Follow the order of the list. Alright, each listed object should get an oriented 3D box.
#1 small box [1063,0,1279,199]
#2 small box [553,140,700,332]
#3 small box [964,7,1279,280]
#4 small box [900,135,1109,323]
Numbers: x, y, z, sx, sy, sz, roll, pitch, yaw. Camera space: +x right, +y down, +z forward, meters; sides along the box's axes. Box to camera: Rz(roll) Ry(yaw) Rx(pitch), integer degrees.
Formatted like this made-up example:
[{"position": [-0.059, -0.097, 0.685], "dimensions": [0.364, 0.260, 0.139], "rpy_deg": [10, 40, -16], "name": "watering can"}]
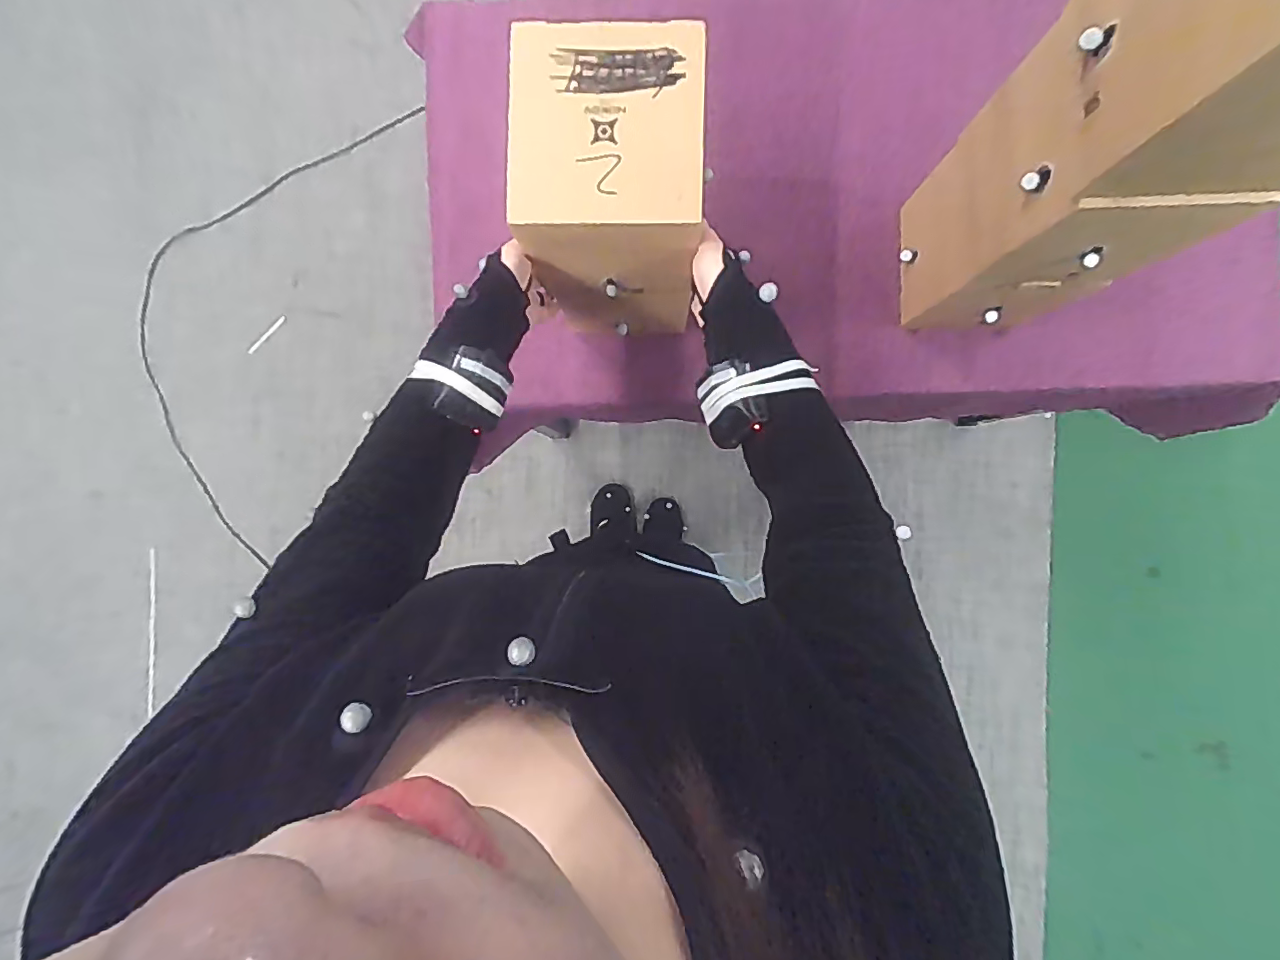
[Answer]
[{"position": [0.435, -0.312, 0.363], "dimensions": [0.179, 0.176, 0.168], "rpy_deg": [0, 89, 2], "name": "small box"}, {"position": [-0.015, -0.304, 0.703], "dimensions": [0.168, 0.176, 0.179], "rpy_deg": [2, 91, 1], "name": "small box"}, {"position": [0.444, -0.306, 0.526], "dimensions": [0.168, 0.176, 0.179], "rpy_deg": [0, 90, 1], "name": "small box"}, {"position": [0.452, -0.306, 0.691], "dimensions": [0.168, 0.176, 0.179], "rpy_deg": [0, 91, 1], "name": "small box"}]
